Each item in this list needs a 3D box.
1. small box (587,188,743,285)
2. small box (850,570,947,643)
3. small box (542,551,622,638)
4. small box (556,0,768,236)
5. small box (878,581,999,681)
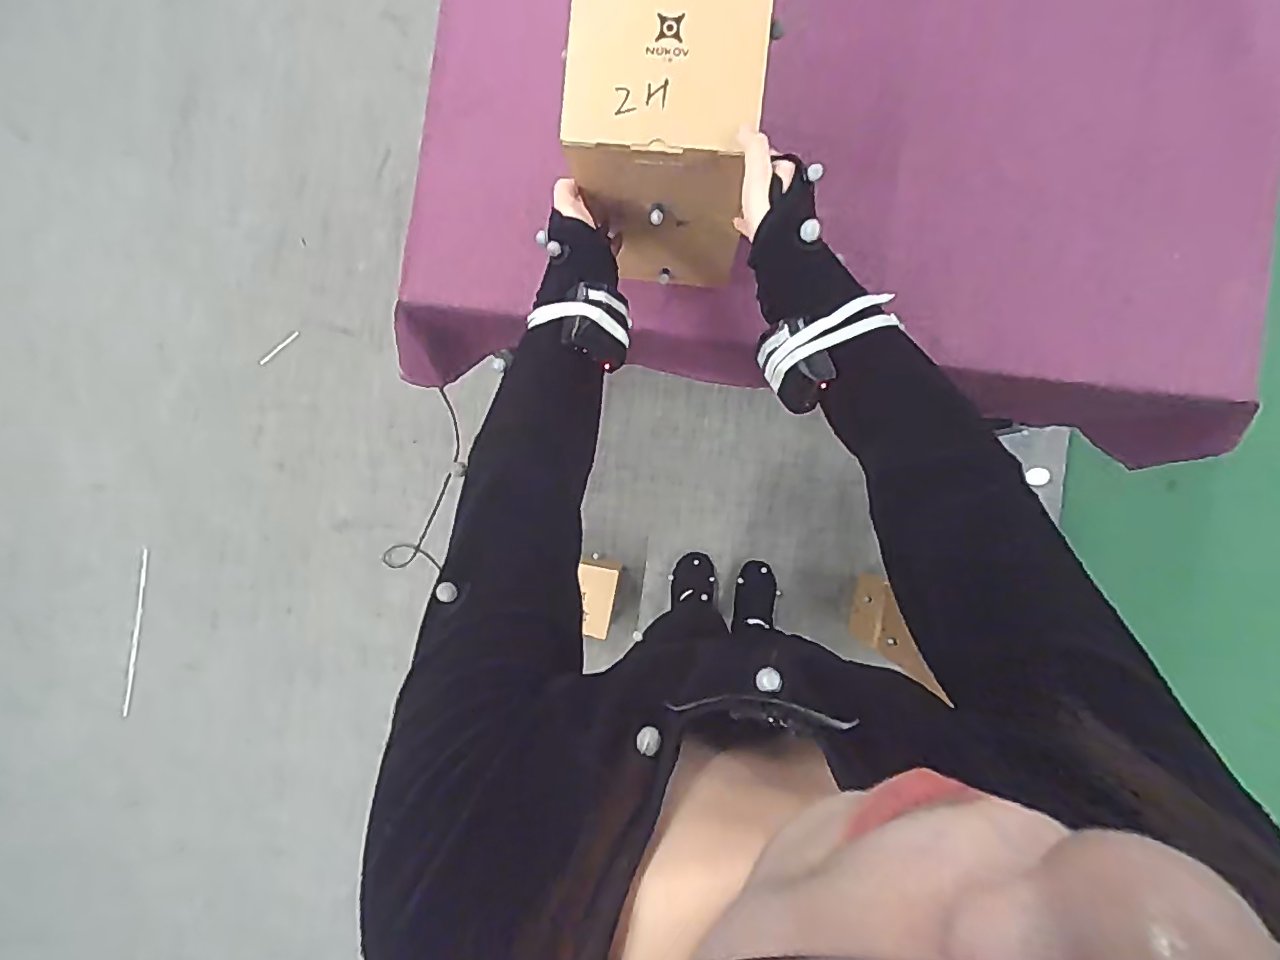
[{"bbox_3d":[0.035,-0.366,0.699,0.179,0.176,0.168,6,88,2],"label":"small box"},{"bbox_3d":[0.660,0.333,1.383,0.179,0.176,0.168,11,89,2],"label":"small box"},{"bbox_3d":[-0.145,0.293,1.418,0.168,0.176,0.179,11,88,2],"label":"small box"},{"bbox_3d":[0.024,-0.364,0.525,0.168,0.176,0.179,6,95,4],"label":"small box"},{"bbox_3d":[0.662,0.331,1.220,0.179,0.176,0.168,9,90,2],"label":"small box"}]
